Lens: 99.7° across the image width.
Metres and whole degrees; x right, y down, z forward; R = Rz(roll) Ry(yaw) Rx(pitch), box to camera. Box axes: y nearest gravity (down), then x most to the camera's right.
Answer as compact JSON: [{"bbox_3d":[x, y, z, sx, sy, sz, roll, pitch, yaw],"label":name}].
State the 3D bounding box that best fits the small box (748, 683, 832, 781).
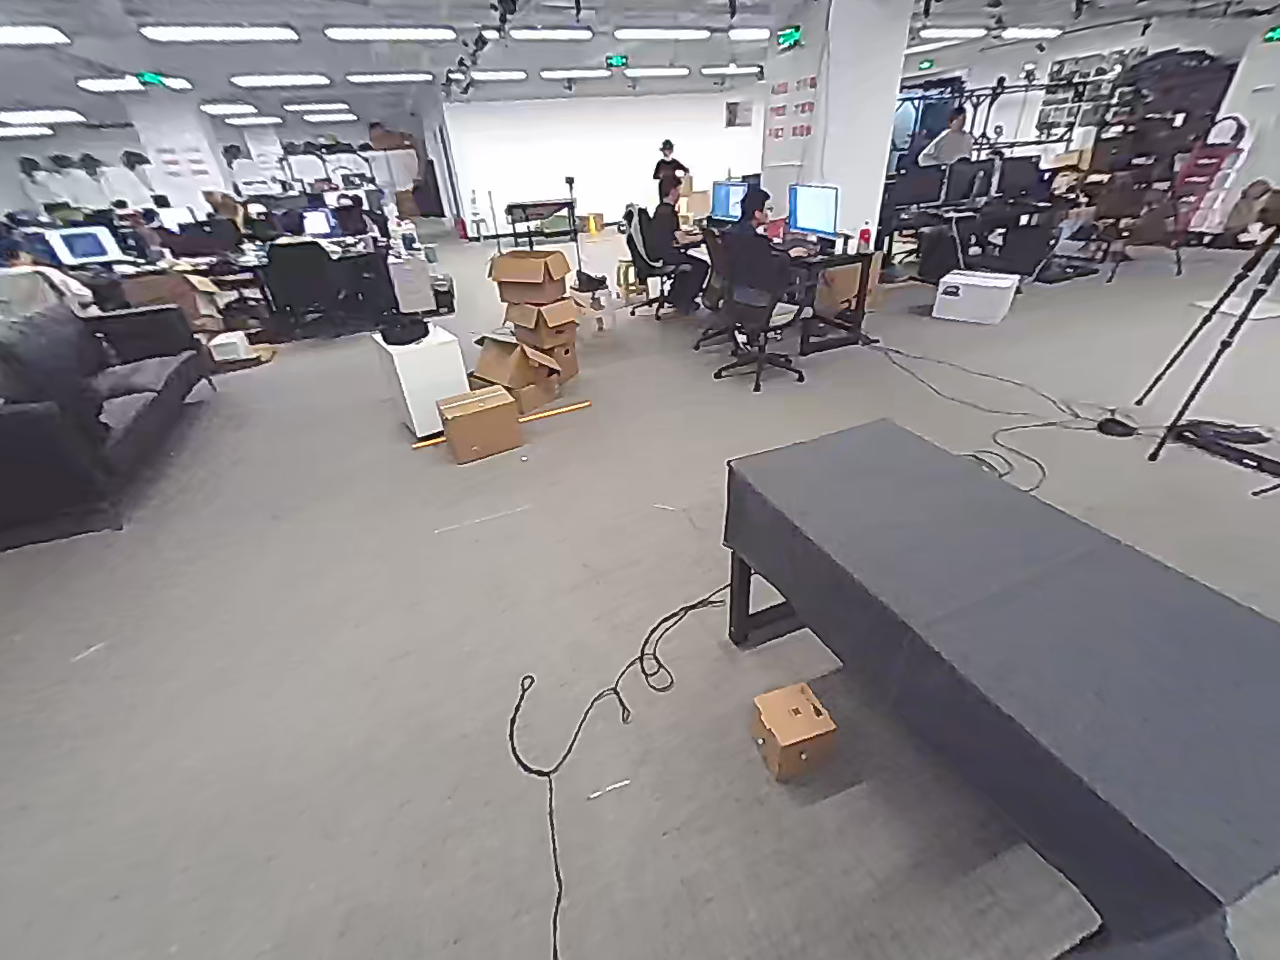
[{"bbox_3d":[0.423,0.725,1.552,0.179,0.176,0.168,-12,31,-13],"label":"small box"}]
